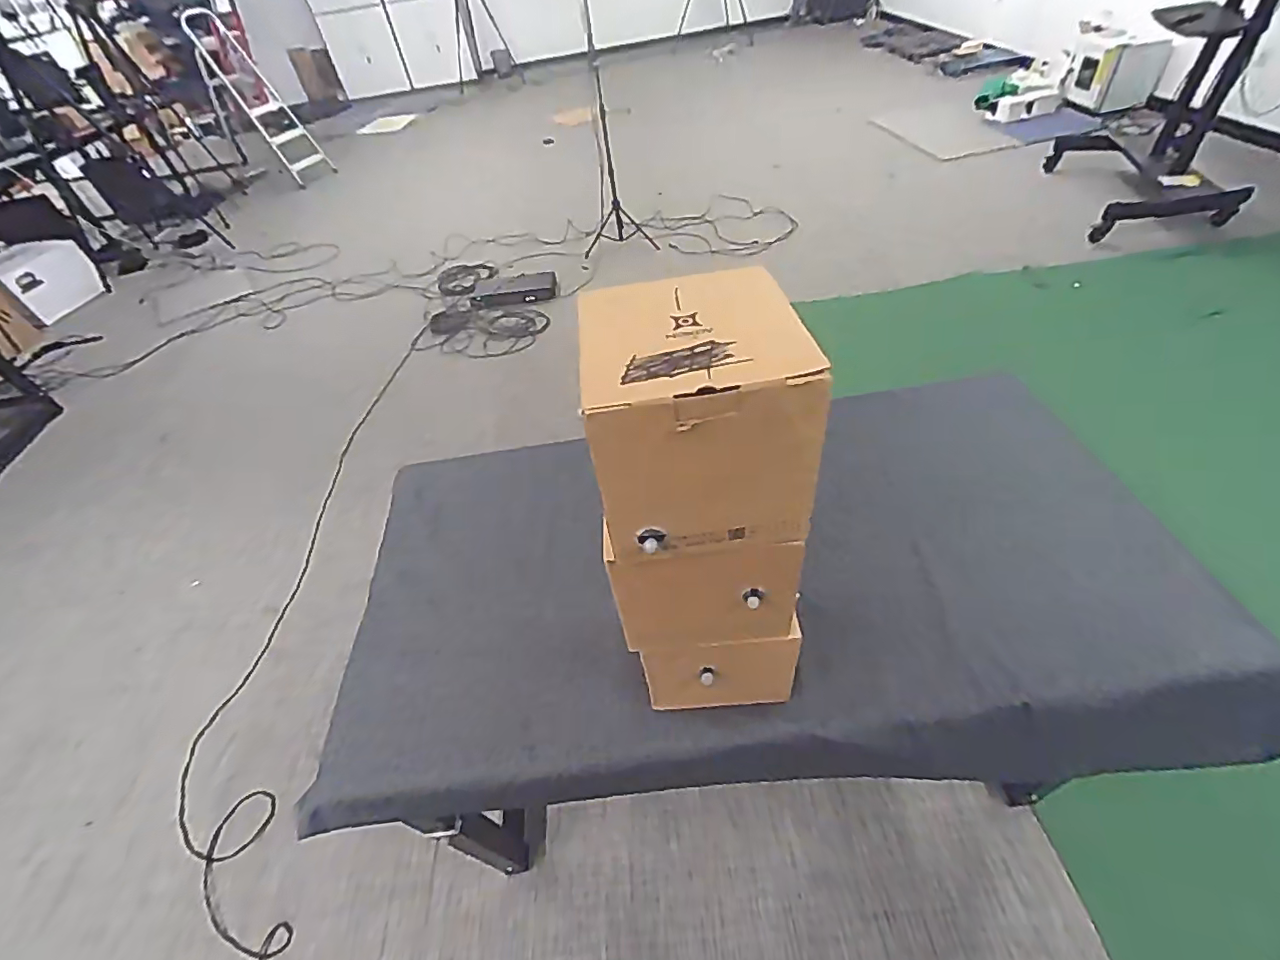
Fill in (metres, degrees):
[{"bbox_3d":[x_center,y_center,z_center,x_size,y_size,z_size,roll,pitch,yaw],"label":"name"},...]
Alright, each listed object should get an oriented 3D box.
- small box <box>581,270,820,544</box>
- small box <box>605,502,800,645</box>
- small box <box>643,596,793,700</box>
[{"bbox_3d":[0.044,-0.058,0.475,0.168,0.176,0.179,-8,43,1],"label":"small box"},{"bbox_3d":[0.061,0.061,0.588,0.179,0.176,0.168,-7,44,3],"label":"small box"},{"bbox_3d":[0.092,0.172,0.702,0.179,0.176,0.168,-6,46,4],"label":"small box"}]
